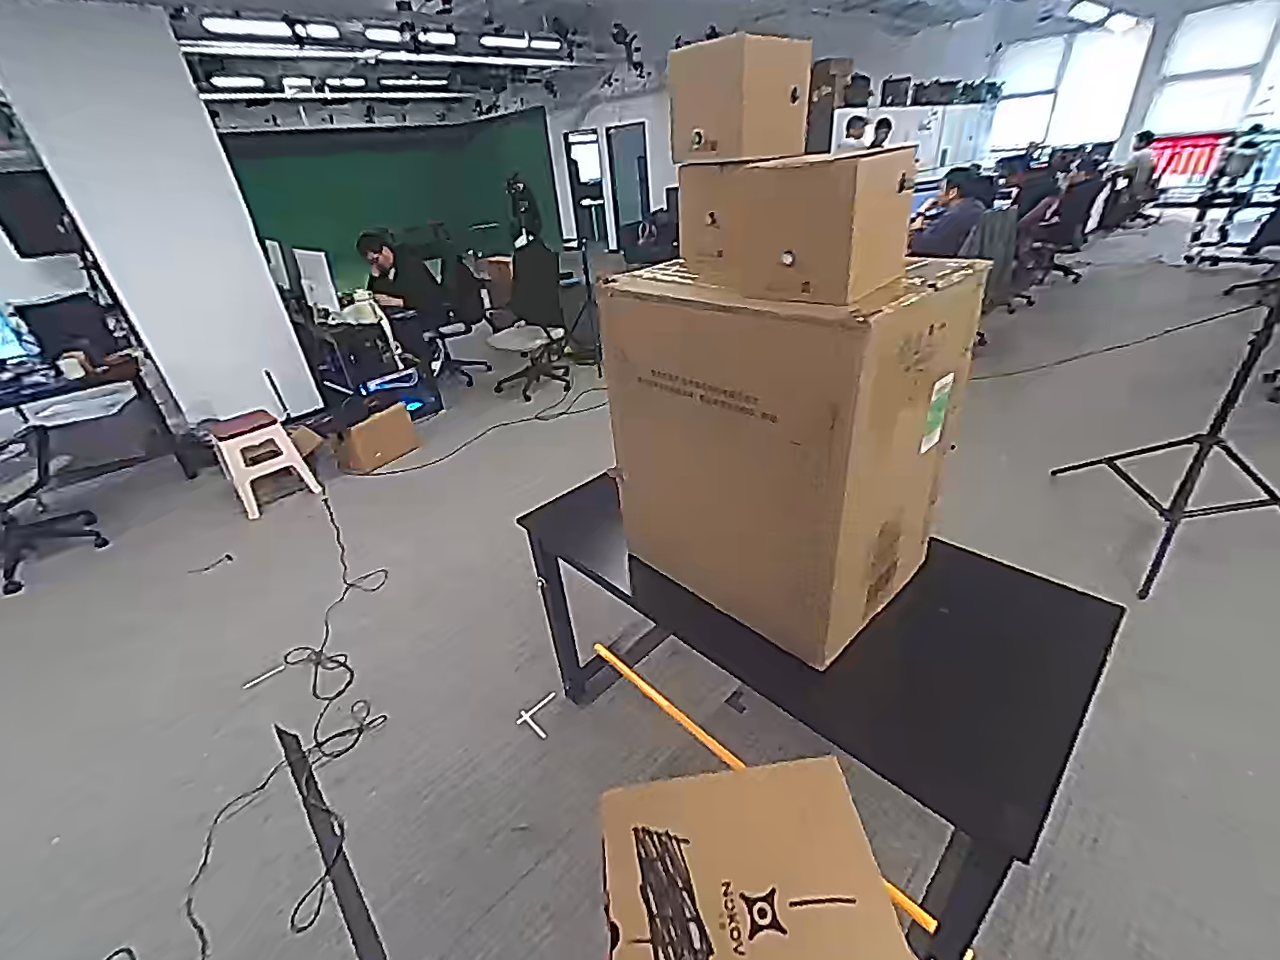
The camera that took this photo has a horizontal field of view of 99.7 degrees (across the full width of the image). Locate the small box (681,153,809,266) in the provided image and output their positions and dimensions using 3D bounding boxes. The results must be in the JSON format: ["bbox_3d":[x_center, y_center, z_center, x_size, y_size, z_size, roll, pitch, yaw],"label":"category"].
[{"bbox_3d":[0.197,-0.509,1.021,0.179,0.176,0.168,-29,39,-34],"label":"small box"}]

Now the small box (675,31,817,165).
[{"bbox_3d":[0.177,-0.642,0.926,0.179,0.176,0.168,-28,37,-33],"label":"small box"}]

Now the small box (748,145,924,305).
[{"bbox_3d":[0.262,-0.352,0.746,0.168,0.176,0.179,22,42,40],"label":"small box"}]

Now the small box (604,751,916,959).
[{"bbox_3d":[0.072,0.319,0.382,0.179,0.176,0.168,-5,41,-3],"label":"small box"}]
